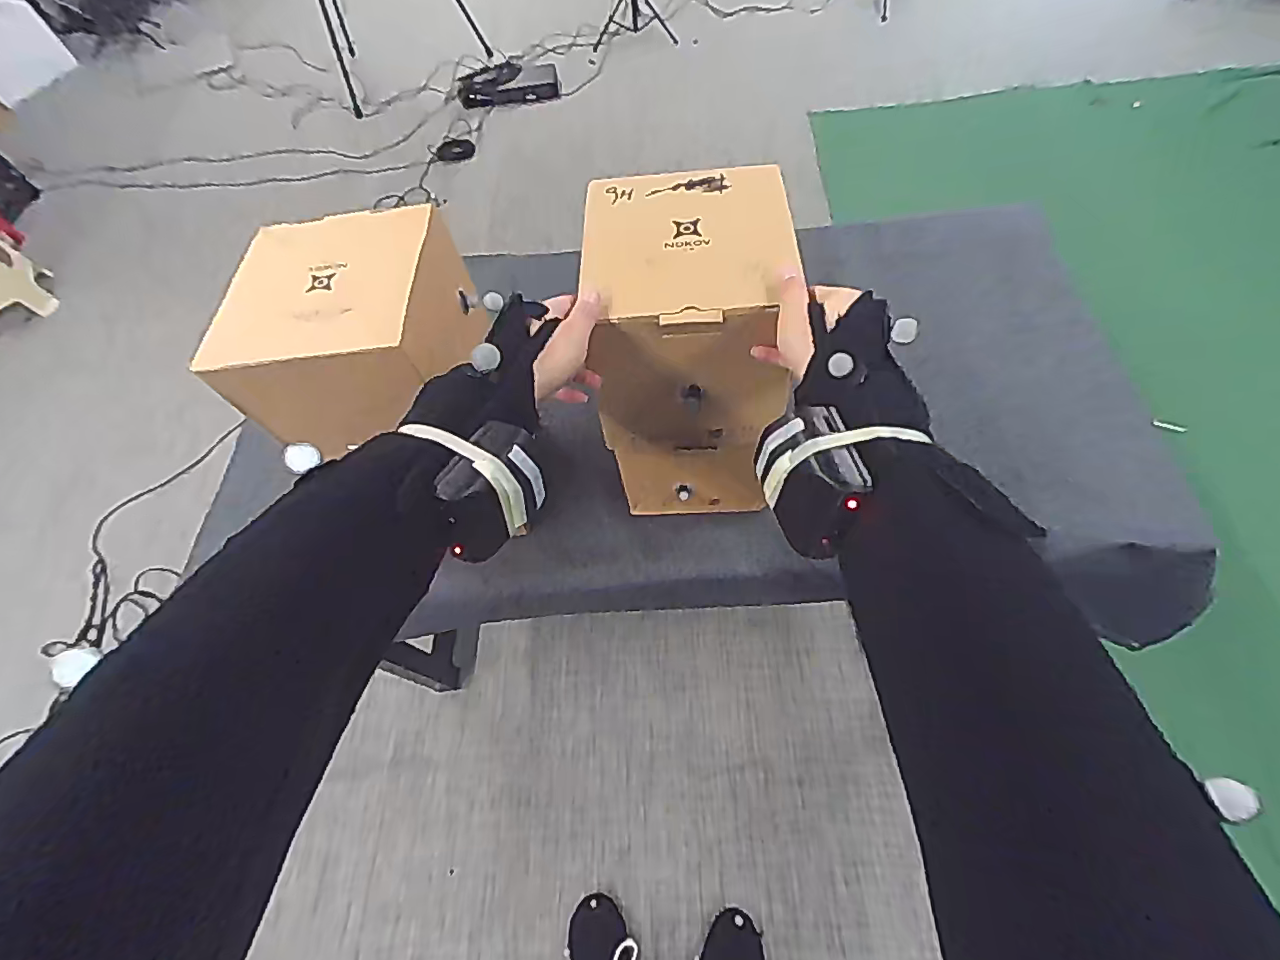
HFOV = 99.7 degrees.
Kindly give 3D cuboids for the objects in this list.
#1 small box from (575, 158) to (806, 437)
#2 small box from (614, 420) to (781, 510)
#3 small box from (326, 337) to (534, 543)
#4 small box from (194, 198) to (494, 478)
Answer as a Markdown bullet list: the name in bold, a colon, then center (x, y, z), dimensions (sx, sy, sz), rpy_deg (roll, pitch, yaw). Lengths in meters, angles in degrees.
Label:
- **small box**: center (0.043, -0.149, 0.485), dimensions (0.168, 0.176, 0.179), rpy_deg (-3, 61, 5)
- **small box**: center (0.062, -0.080, 0.635), dimensions (0.168, 0.176, 0.179), rpy_deg (-3, 60, 5)
- **small box**: center (-0.229, -0.041, 0.644), dimensions (0.168, 0.176, 0.179), rpy_deg (-6, 60, 3)
- **small box**: center (-0.245, -0.124, 0.504), dimensions (0.168, 0.176, 0.179), rpy_deg (-7, 60, 4)
